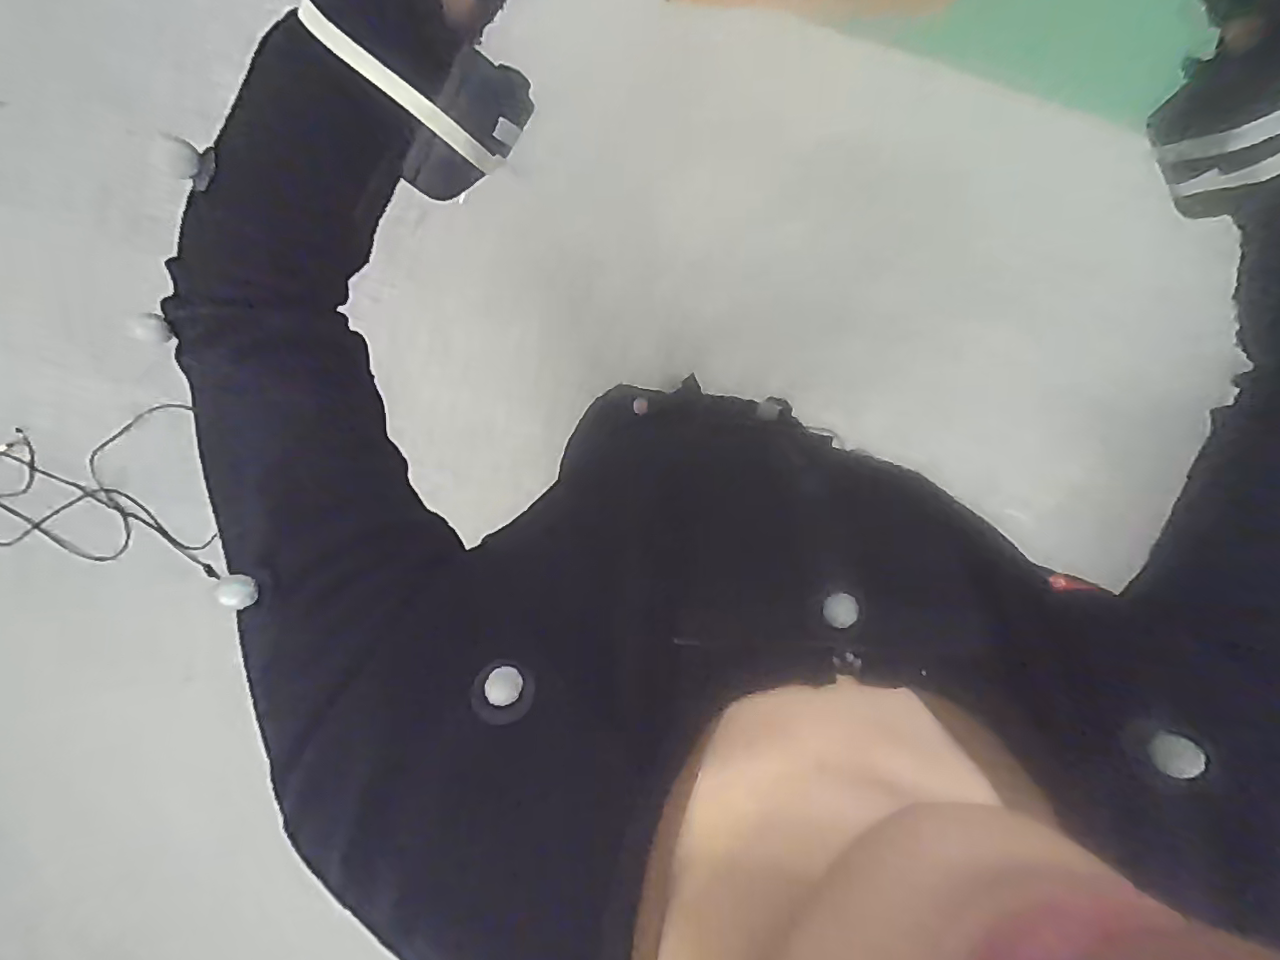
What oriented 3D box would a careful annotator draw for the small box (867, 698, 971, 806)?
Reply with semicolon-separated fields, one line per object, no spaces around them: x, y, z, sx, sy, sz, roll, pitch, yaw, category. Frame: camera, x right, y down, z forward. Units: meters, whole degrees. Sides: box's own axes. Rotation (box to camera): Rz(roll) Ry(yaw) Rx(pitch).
0.755;0.742;1.489;0.168;0.176;0.179;21;97;-3;small box
